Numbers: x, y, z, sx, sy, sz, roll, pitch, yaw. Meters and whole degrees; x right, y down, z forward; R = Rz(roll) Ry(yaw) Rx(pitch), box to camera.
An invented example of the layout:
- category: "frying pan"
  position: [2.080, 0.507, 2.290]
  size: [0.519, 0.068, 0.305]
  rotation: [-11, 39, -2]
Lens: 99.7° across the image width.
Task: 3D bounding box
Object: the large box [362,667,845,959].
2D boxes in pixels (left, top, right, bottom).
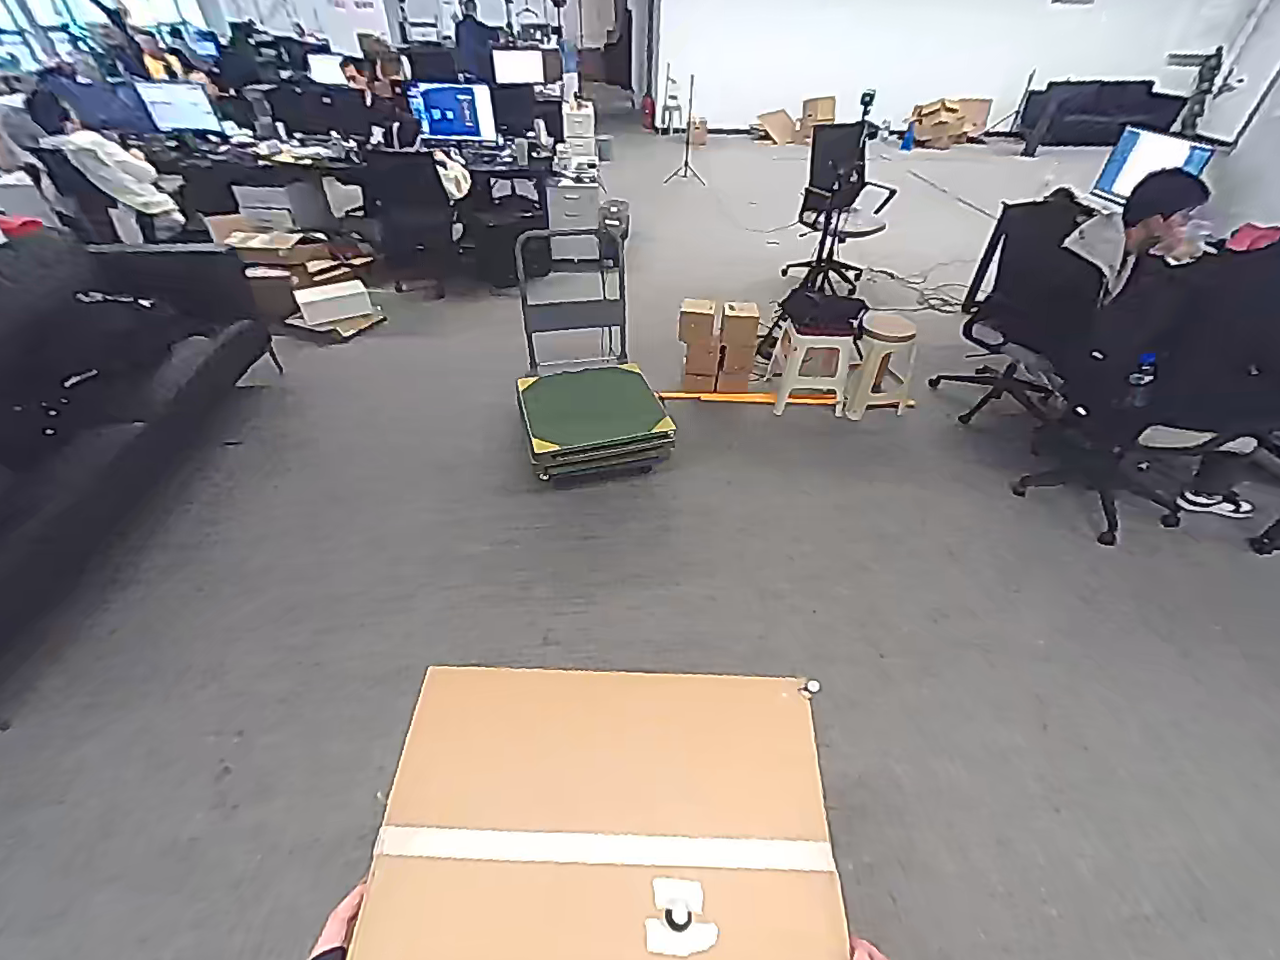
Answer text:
- category: "large box"
  position: [-0.029, 0.420, 0.608]
  size: [0.408, 0.320, 0.320]
  rotation: [1, 53, 1]
